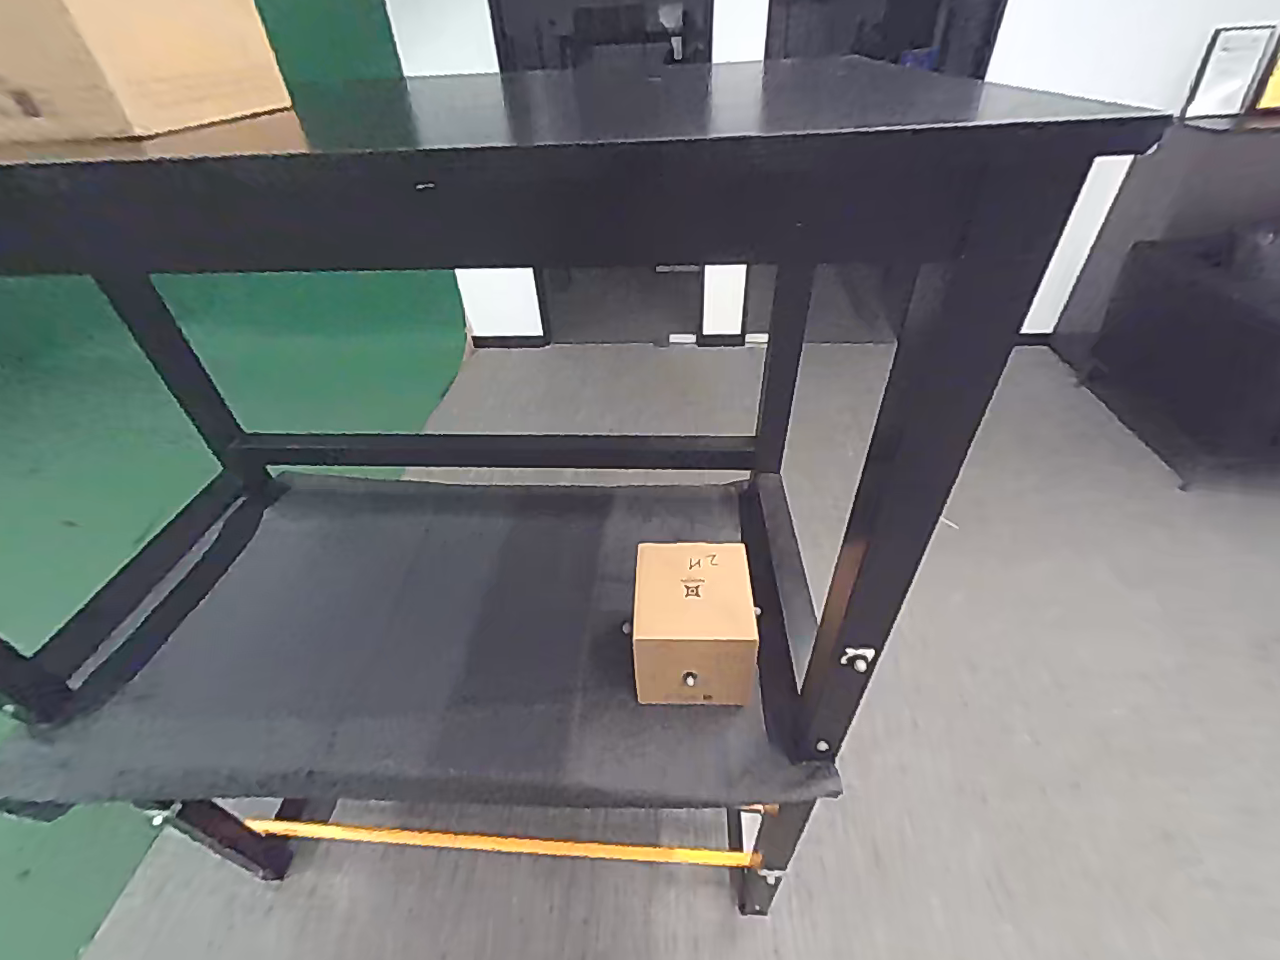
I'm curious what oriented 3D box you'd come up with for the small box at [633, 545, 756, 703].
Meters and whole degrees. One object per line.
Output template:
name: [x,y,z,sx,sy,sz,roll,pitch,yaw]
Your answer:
small box: [0.080,0.219,0.821,0.168,0.176,0.179,0,39,3]
